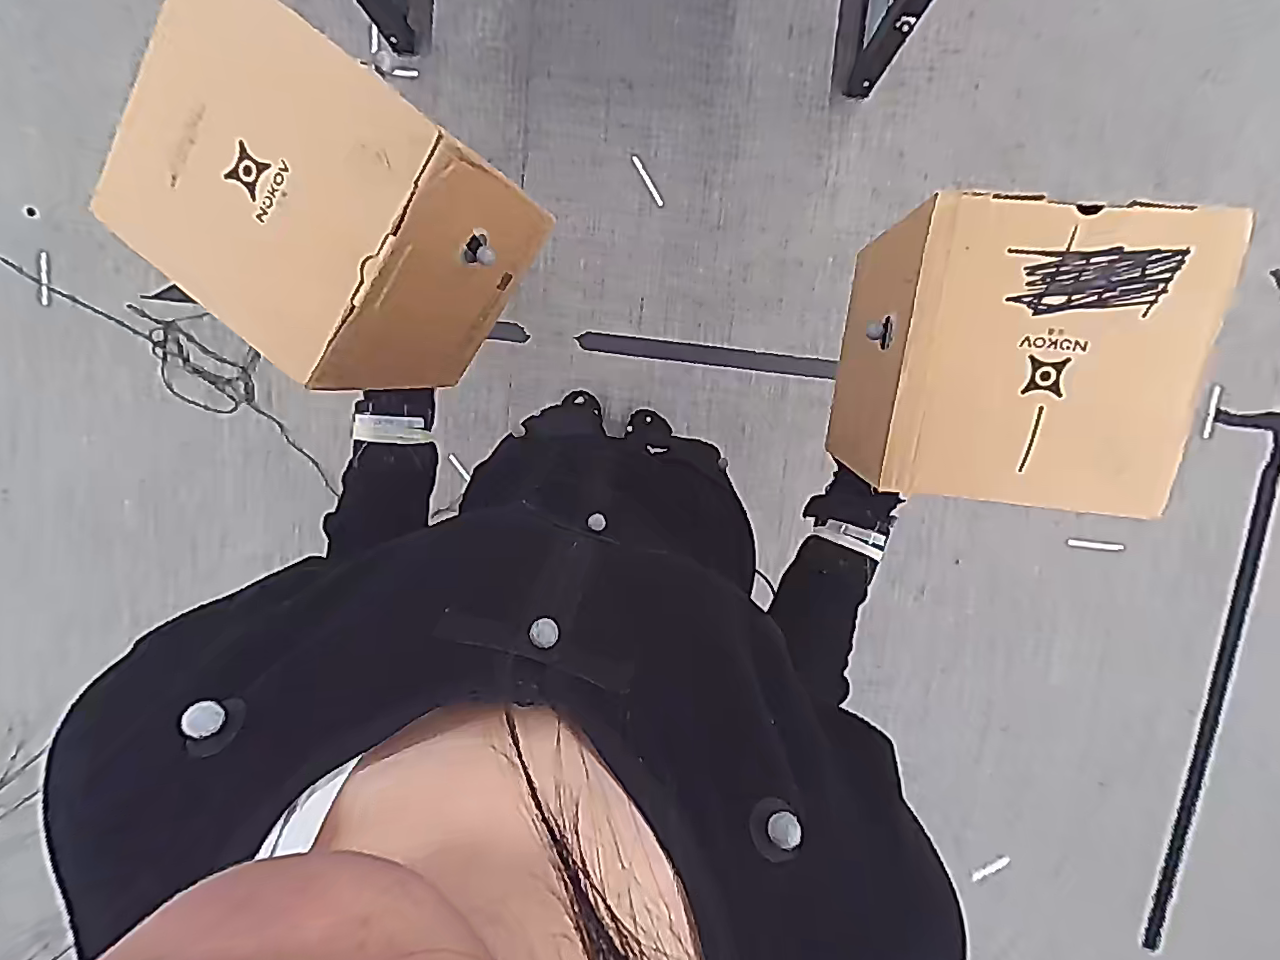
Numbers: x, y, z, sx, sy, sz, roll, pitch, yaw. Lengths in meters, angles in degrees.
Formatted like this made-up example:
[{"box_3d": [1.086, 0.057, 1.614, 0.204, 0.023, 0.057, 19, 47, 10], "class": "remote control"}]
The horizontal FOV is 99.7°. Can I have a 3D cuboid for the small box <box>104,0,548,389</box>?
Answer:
[{"box_3d": [-0.194, -0.182, 0.379, 0.179, 0.176, 0.168, 38, 105, 3], "class": "small box"}]

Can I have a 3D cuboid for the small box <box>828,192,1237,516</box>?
[{"box_3d": [0.248, -0.087, 0.398, 0.168, 0.176, 0.179, 7, 103, 6], "class": "small box"}]
